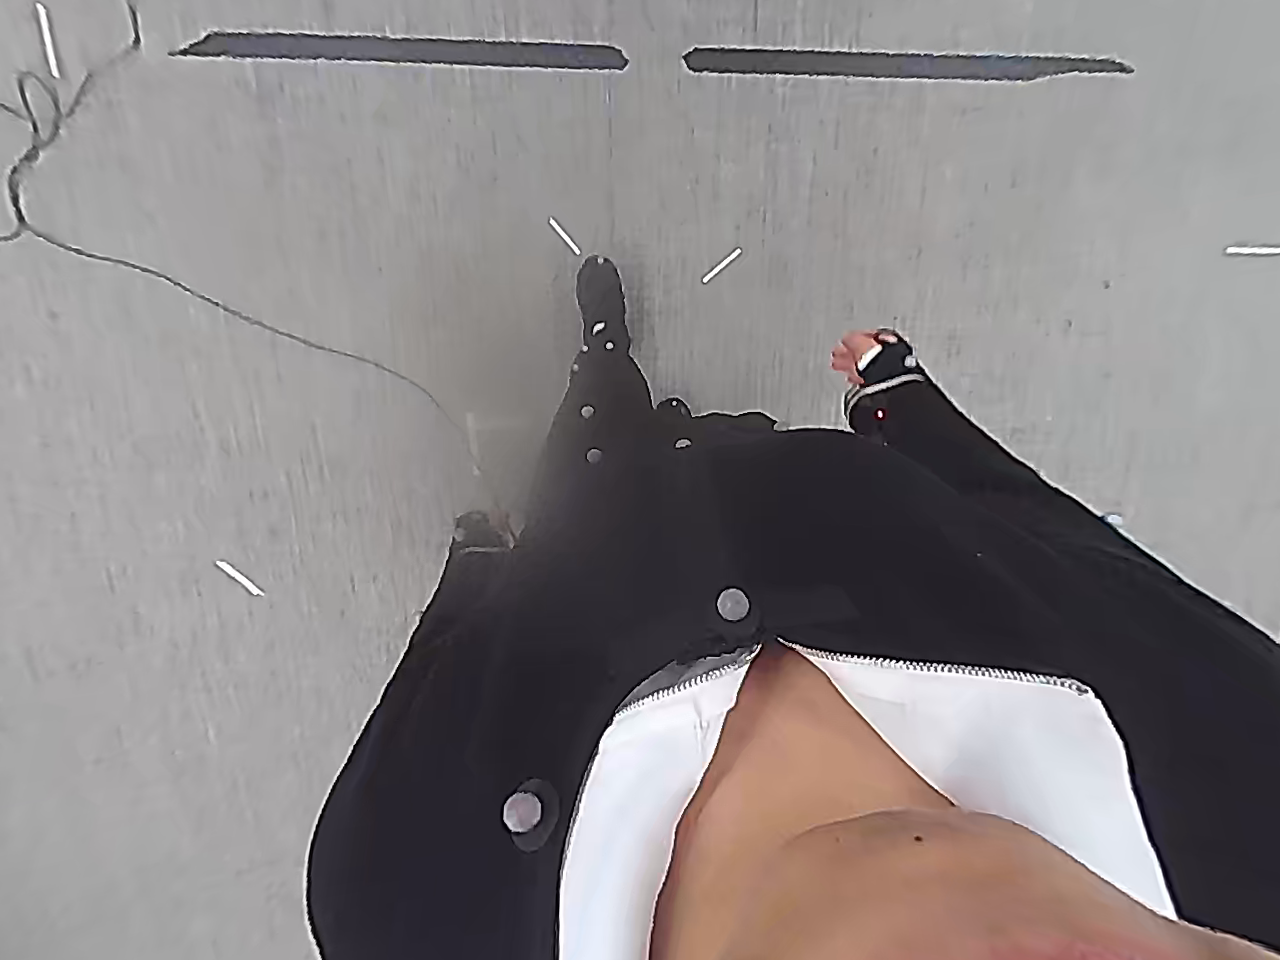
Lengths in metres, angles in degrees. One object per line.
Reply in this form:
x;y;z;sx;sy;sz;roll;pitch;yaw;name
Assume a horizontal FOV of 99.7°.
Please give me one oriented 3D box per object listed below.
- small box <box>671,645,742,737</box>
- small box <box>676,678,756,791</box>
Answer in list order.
0.171;0.560;1.448;0.168;0.176;0.179;1;104;-1;small box
0.177;0.600;1.289;0.168;0.176;0.179;-6;104;0;small box
